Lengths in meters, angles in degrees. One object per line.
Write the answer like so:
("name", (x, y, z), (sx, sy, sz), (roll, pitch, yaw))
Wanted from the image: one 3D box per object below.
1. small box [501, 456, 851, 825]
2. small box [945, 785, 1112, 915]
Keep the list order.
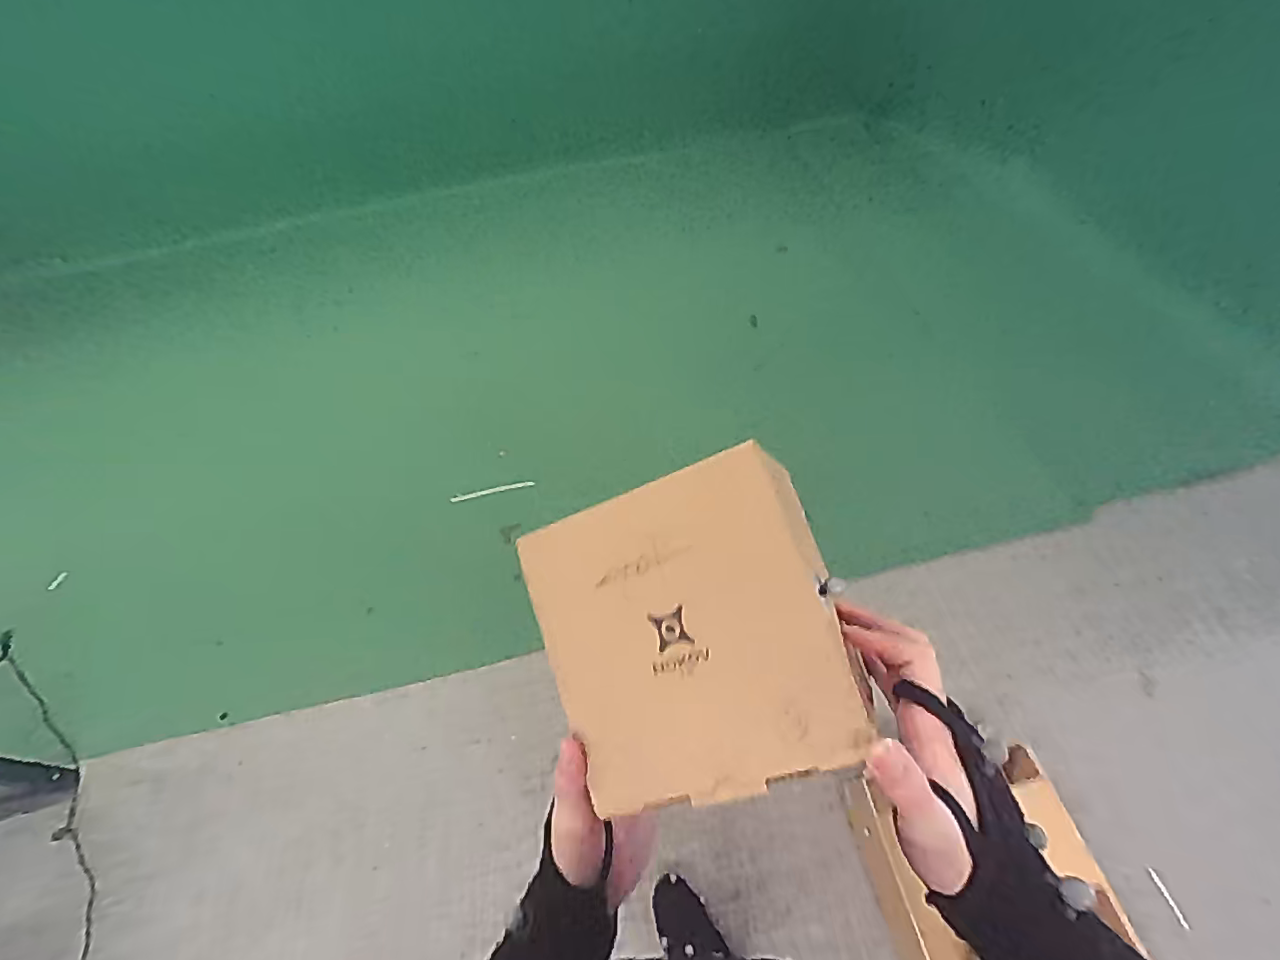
("small box", (0.037, 0.098, 0.382), (0.168, 0.176, 0.179), (-24, 78, 18))
("small box", (0.715, 0.702, 1.028), (0.179, 0.176, 0.168), (-14, 54, -3))
